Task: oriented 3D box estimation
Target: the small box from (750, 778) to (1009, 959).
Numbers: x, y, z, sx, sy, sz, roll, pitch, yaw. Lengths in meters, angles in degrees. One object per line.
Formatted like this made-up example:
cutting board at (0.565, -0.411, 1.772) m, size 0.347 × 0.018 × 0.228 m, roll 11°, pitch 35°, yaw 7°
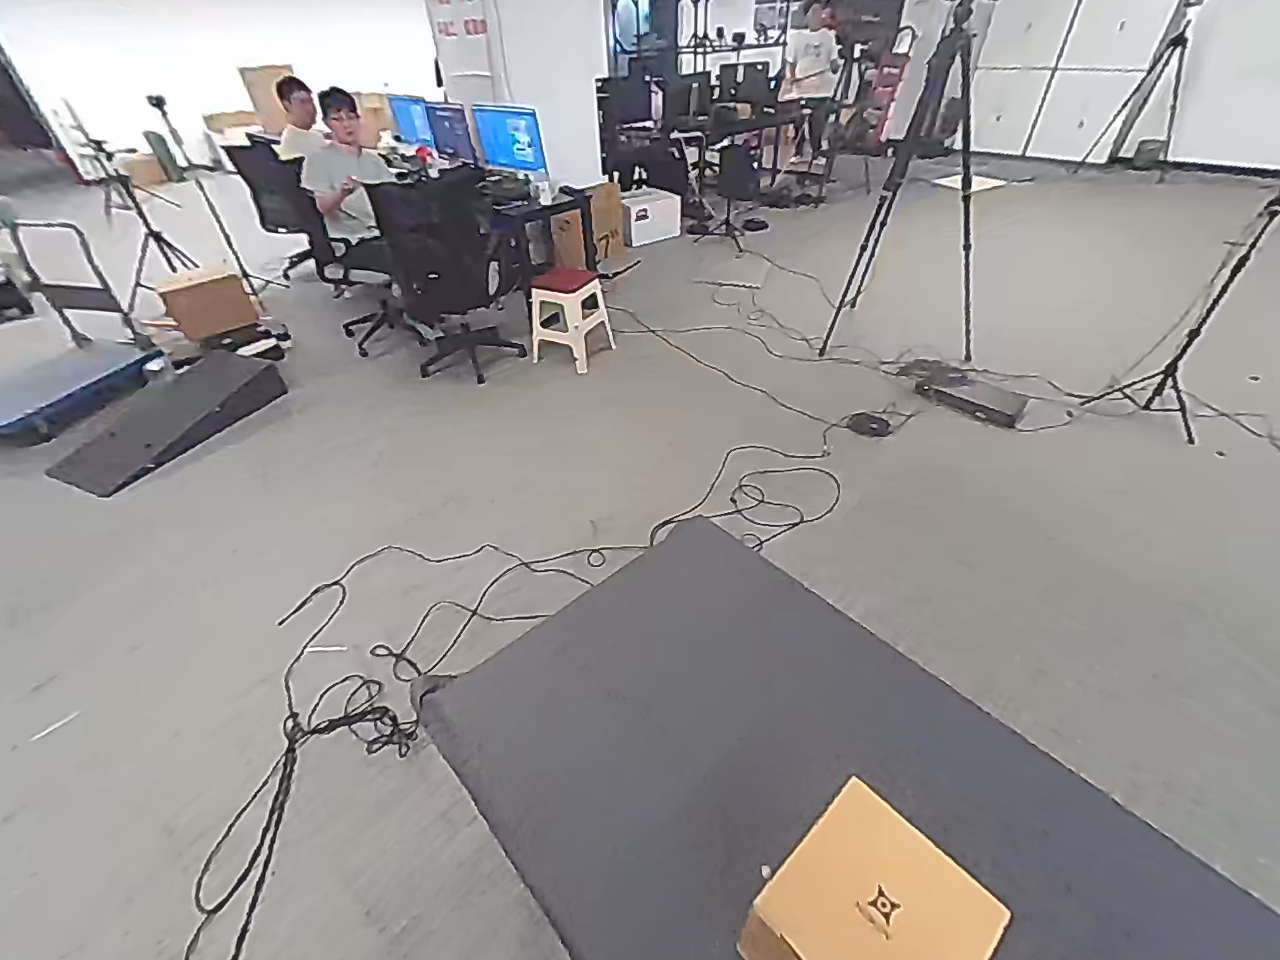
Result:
small box at (0.229, 0.462, 0.558) m, size 0.179 × 0.176 × 0.168 m, roll -31°, pitch 47°, yaw -29°
